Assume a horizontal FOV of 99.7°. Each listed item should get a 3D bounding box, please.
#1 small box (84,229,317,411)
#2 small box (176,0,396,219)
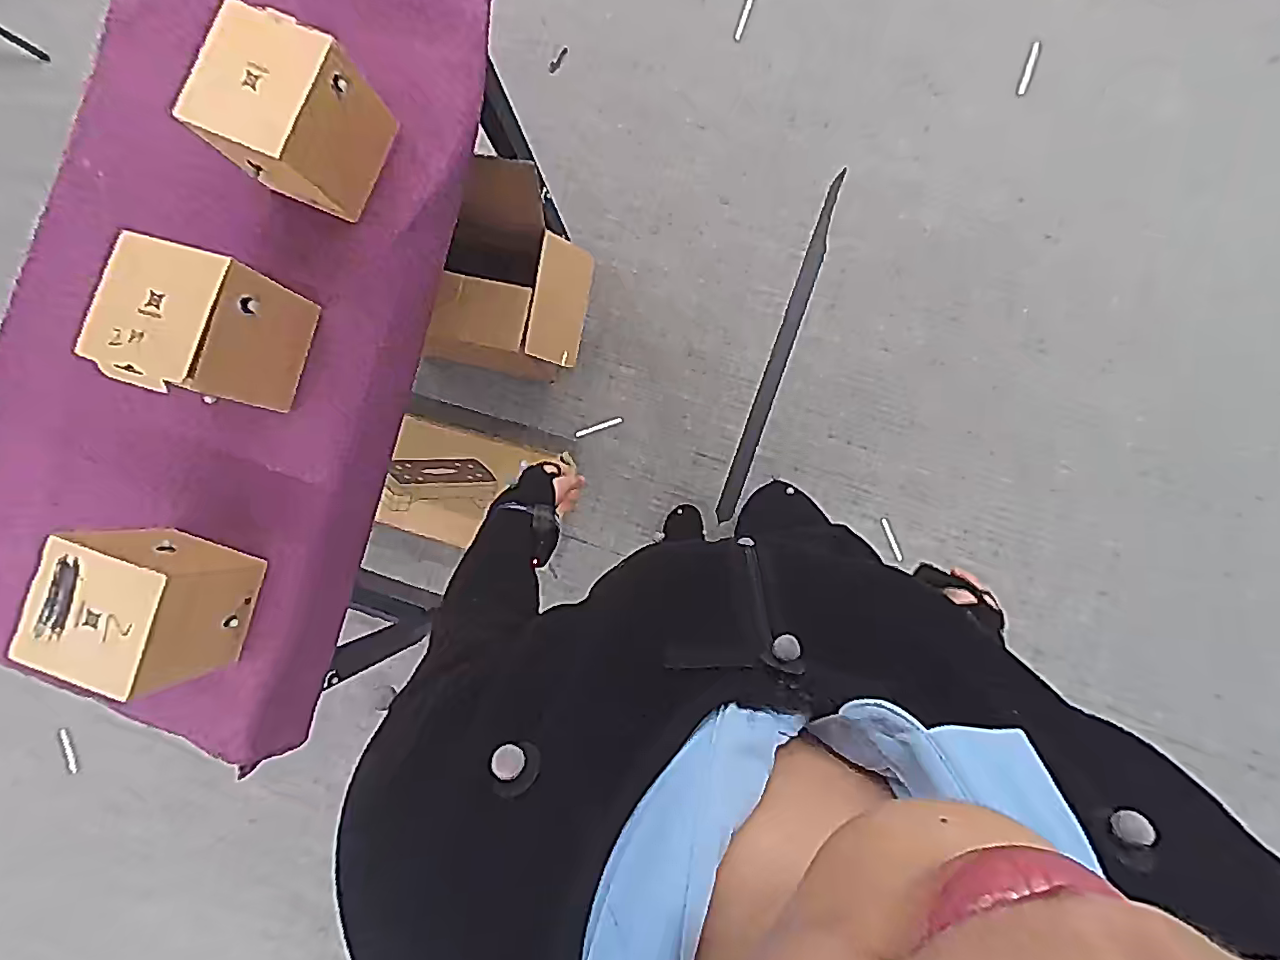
[{"bbox_3d":[-0.596,-0.212,0.759,0.168,0.176,0.179,16,89,8],"label":"small box"},{"bbox_3d":[-0.483,-0.510,0.766,0.168,0.176,0.179,23,89,5],"label":"small box"}]
